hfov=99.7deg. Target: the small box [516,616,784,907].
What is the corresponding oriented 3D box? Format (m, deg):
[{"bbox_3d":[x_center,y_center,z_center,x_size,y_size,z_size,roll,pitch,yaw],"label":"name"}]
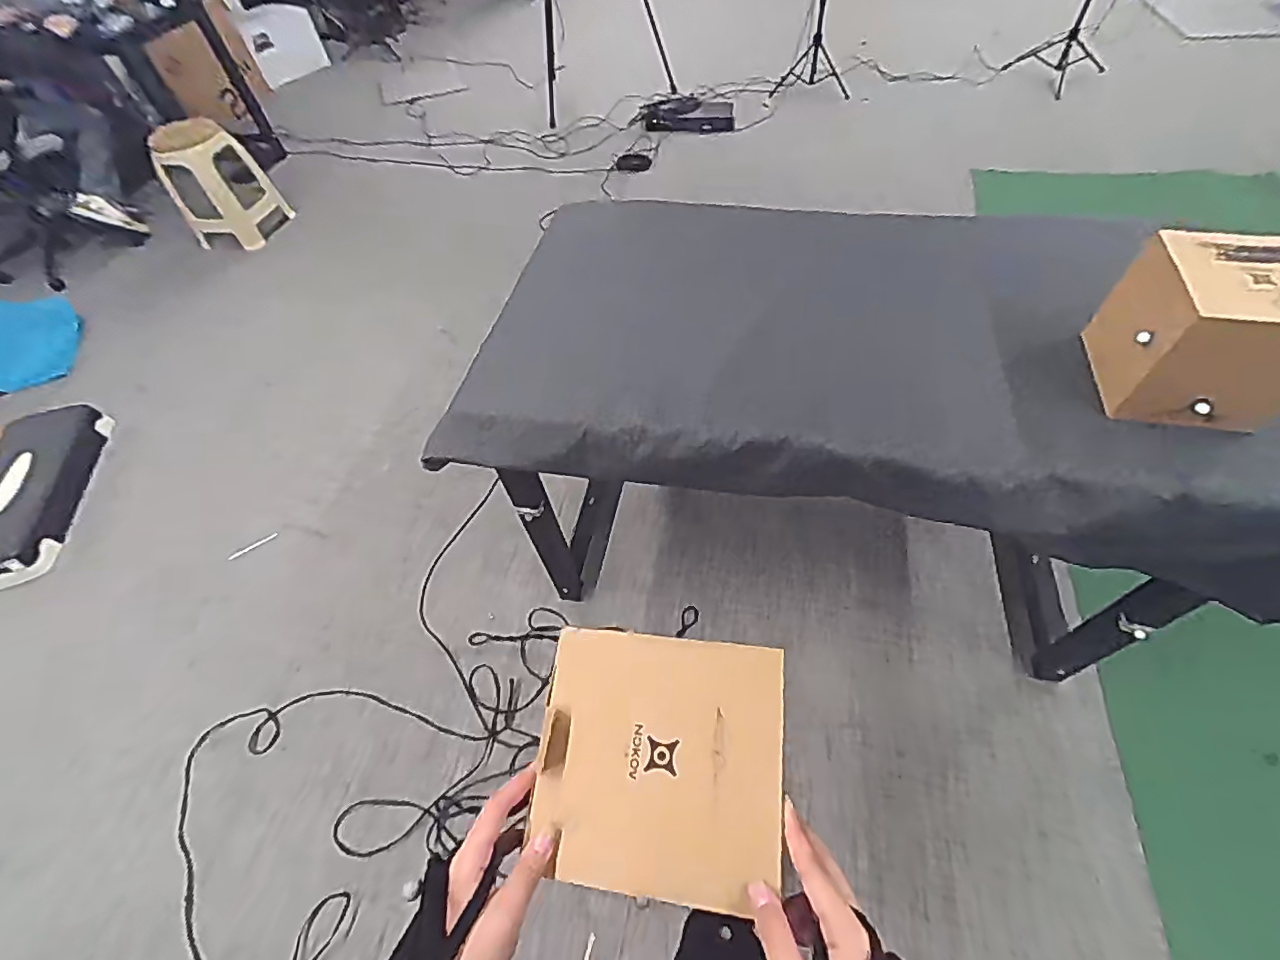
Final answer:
[{"bbox_3d":[0.022,0.220,0.449,0.179,0.176,0.168,3,65,9],"label":"small box"}]
